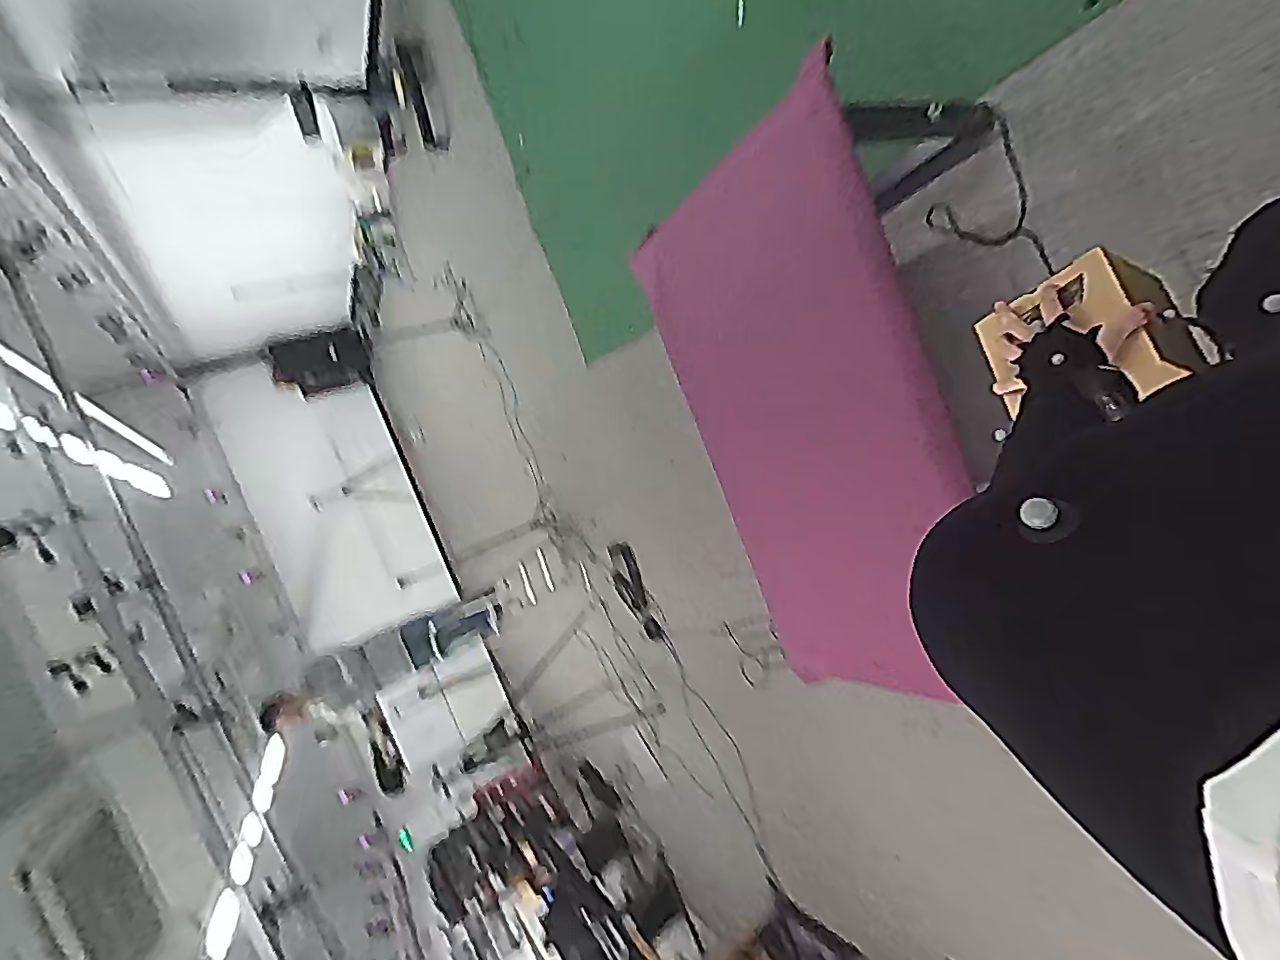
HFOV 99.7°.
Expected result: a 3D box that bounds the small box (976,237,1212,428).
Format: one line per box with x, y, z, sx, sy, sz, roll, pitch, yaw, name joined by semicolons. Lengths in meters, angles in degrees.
0.612;-0.188;0.739;0.168;0.176;0.179;-40;52;54;small box
